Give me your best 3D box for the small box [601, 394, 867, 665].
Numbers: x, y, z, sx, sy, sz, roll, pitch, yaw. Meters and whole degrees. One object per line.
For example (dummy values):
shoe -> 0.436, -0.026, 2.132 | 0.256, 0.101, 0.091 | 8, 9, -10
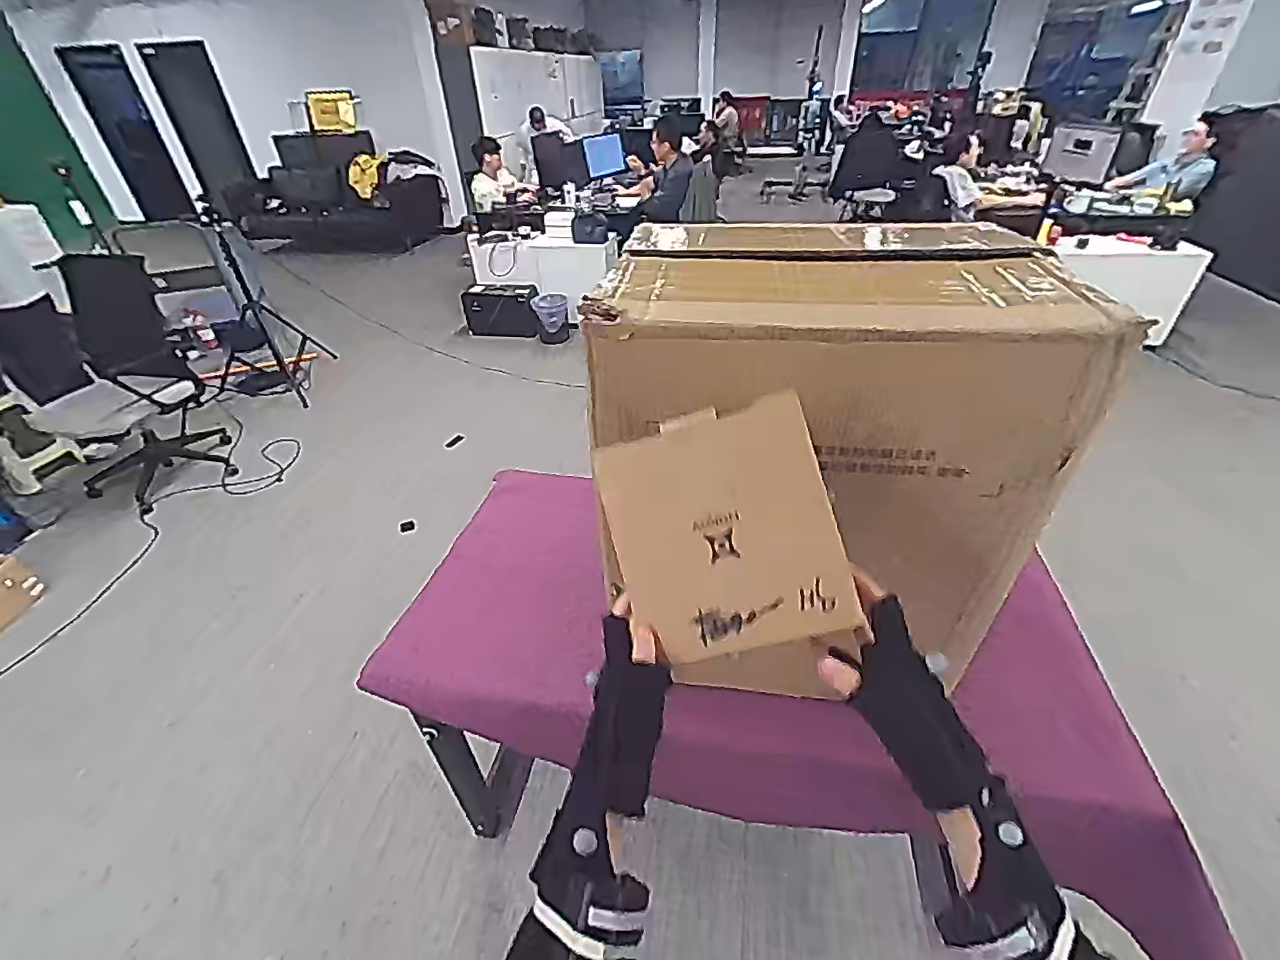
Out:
small box -> 0.082, 0.043, 0.485 | 0.168, 0.179, 0.176 | -16, -6, 12
